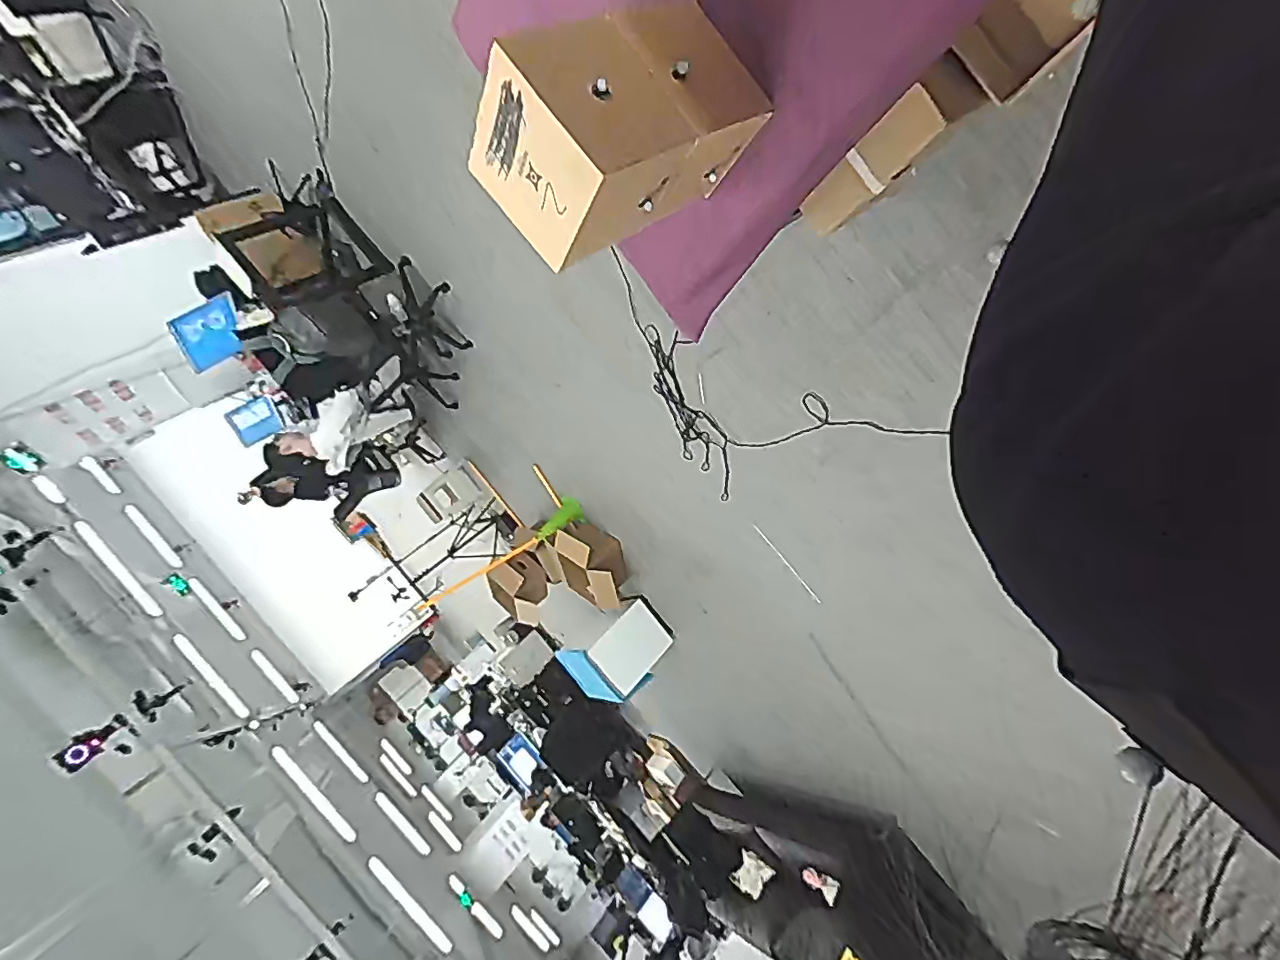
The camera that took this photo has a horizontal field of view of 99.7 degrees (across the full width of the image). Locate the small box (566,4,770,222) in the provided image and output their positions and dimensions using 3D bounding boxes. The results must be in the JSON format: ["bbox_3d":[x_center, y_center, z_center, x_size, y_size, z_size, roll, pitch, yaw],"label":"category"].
[{"bbox_3d":[0.037,-0.497,0.733,0.179,0.176,0.168,51,149,-4],"label":"small box"}]
